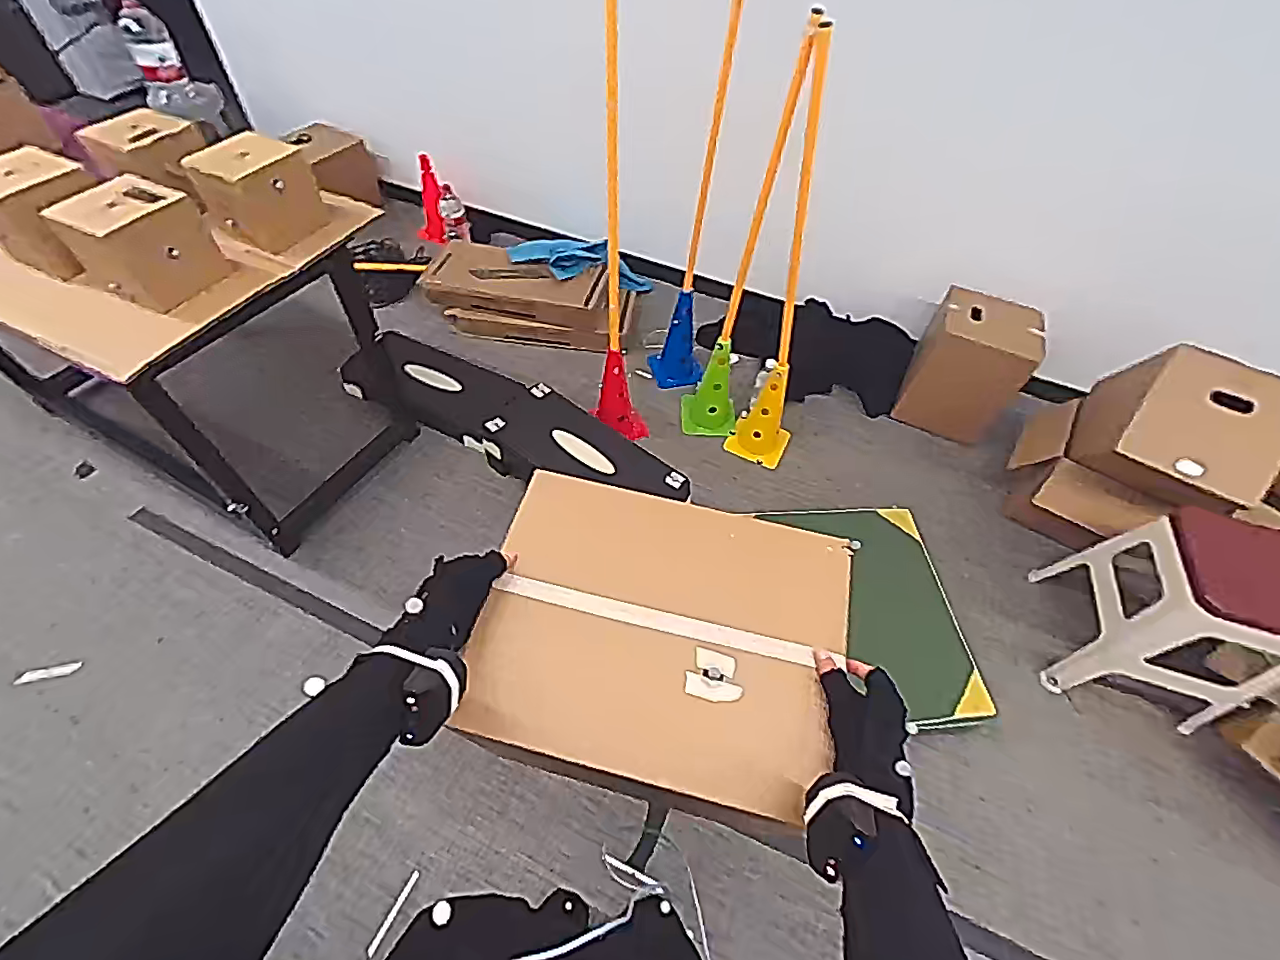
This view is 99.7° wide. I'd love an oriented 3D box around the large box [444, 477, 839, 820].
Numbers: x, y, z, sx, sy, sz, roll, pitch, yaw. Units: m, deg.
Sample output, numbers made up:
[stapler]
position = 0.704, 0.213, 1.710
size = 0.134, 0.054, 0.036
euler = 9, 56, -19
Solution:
[large box]
position = 0.016, 0.239, 0.739
size = 0.408, 0.320, 0.320
euler = 13, 59, 6
